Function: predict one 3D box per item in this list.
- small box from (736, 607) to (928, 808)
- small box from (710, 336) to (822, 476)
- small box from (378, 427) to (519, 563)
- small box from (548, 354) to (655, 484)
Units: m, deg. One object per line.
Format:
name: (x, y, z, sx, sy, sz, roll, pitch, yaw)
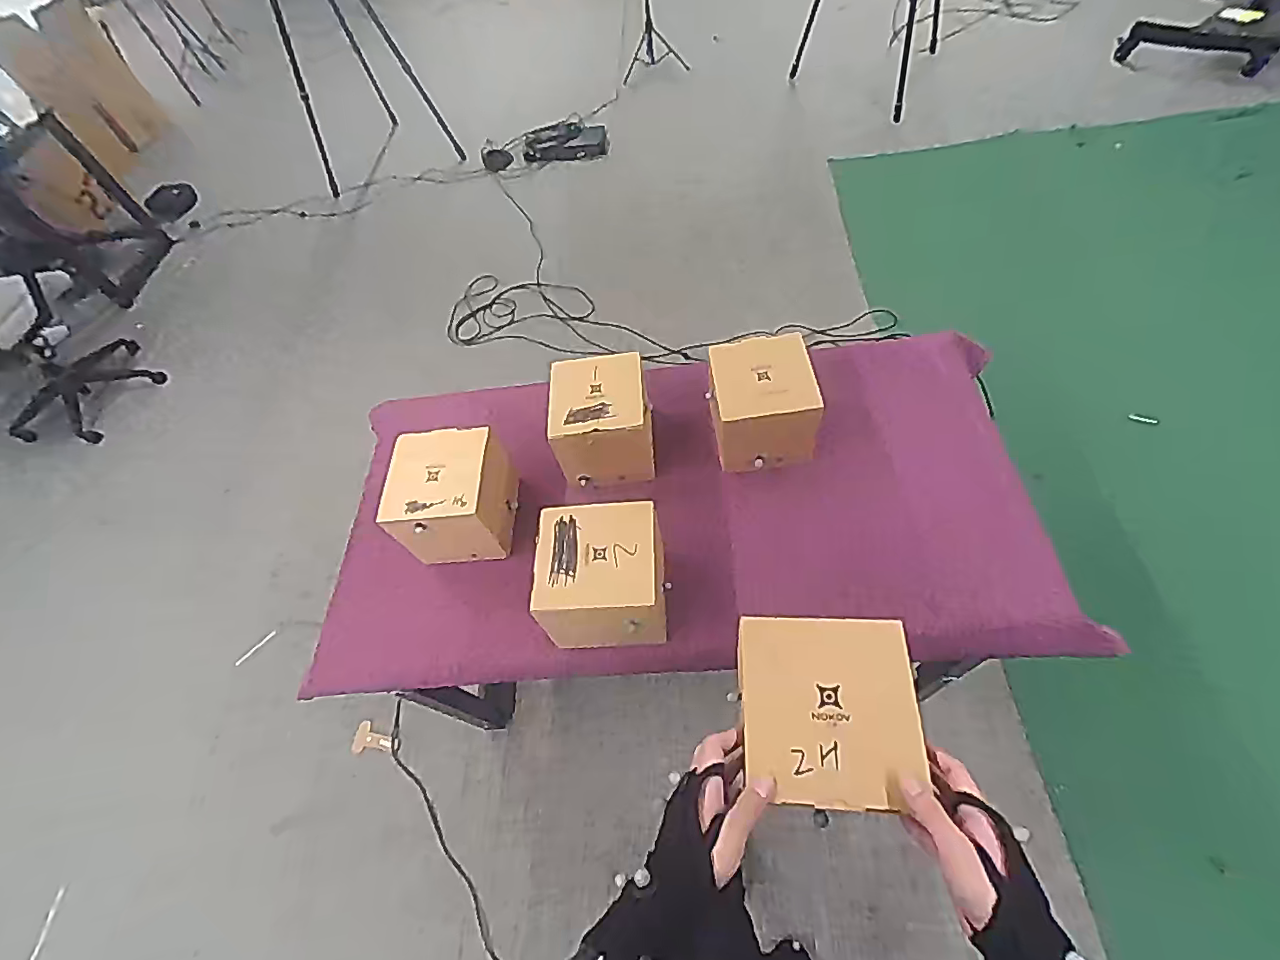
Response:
small box: (0.192, 0.254, 0.599, 0.168, 0.176, 0.179, 0, 59, 9)
small box: (0.217, -0.130, 0.979, 0.168, 0.176, 0.179, -7, 57, 6)
small box: (-0.324, 0.030, 0.958, 0.168, 0.176, 0.179, -5, 56, 7)
small box: (-0.065, -0.105, 1.007, 0.168, 0.176, 0.179, -6, 56, 5)
